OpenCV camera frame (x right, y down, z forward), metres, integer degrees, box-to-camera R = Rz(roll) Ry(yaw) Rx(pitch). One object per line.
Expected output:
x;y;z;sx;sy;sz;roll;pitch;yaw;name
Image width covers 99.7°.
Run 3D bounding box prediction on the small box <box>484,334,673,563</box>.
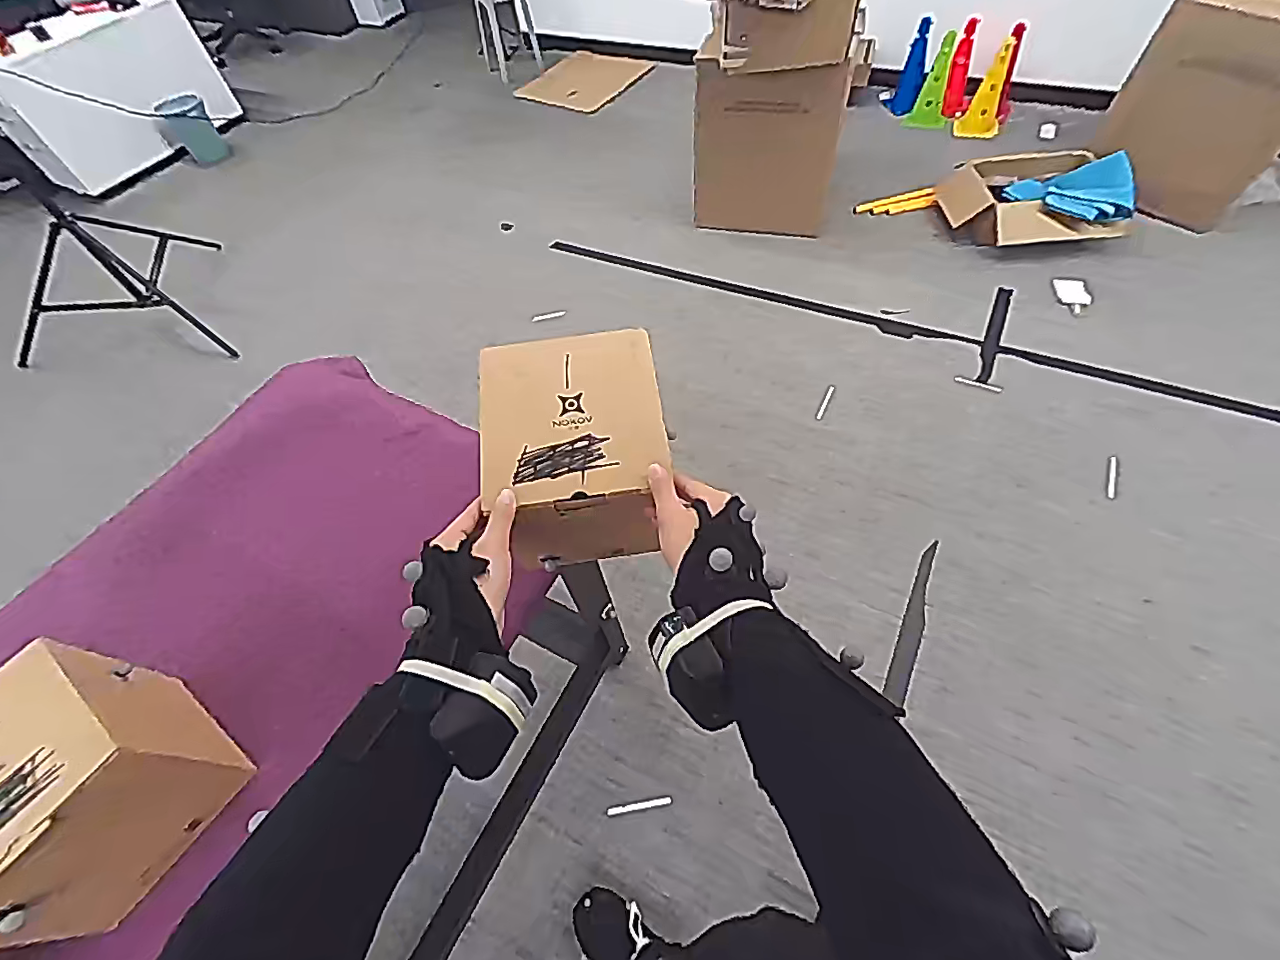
-0.057;-0.022;0.565;0.168;0.176;0.179;-8;63;-2;small box
